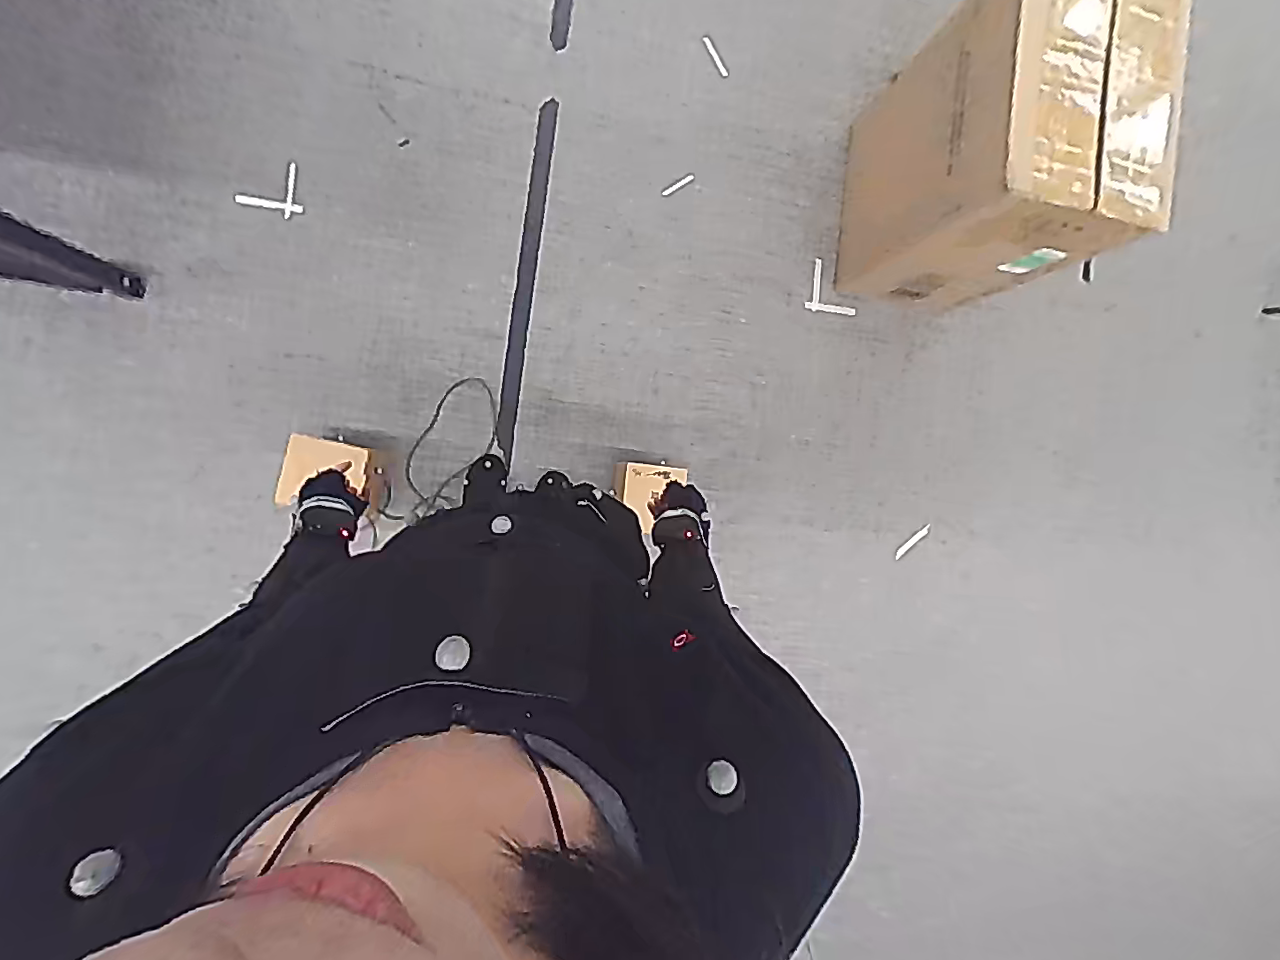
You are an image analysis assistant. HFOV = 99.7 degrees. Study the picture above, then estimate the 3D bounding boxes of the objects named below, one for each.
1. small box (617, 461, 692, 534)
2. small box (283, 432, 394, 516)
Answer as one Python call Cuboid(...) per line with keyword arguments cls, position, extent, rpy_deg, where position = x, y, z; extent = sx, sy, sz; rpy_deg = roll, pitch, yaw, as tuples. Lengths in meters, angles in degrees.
Cuboid(cls="small box", position=(0.033, 0.043, 1.482), extent=(0.168, 0.176, 0.179), rpy_deg=(7, 91, -11))
Cuboid(cls="small box", position=(-0.730, -0.013, 1.333), extent=(0.179, 0.176, 0.168), rpy_deg=(13, 87, -8))
